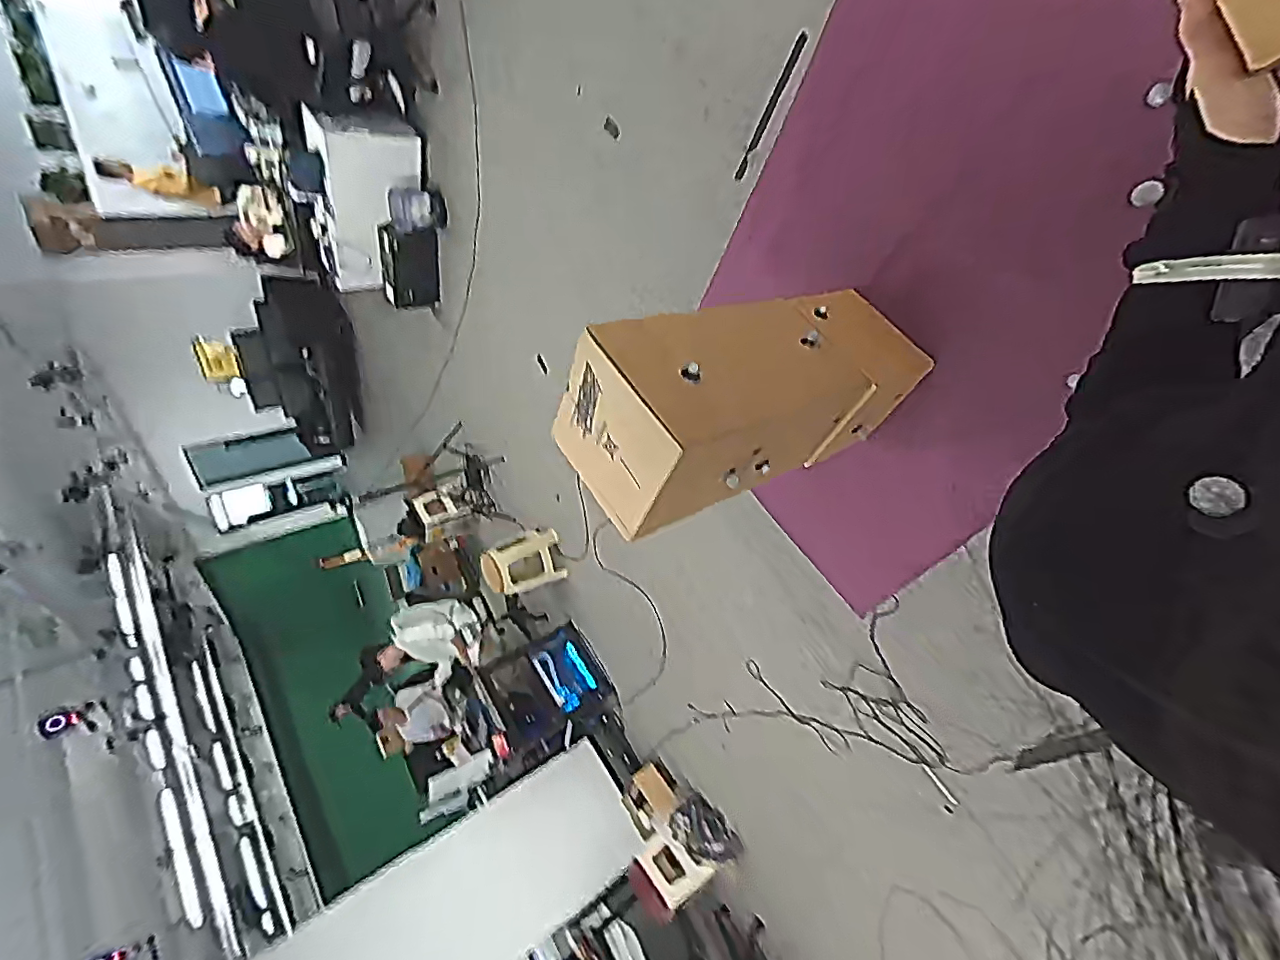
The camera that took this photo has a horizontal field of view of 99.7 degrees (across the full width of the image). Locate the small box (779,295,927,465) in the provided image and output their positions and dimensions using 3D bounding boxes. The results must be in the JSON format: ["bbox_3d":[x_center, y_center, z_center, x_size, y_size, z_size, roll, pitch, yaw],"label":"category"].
[{"bbox_3d":[0.279,-0.156,0.803,0.179,0.176,0.168,54,142,22],"label":"small box"}]

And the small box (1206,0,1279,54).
[{"bbox_3d":[0.355,-0.330,0.234,0.179,0.176,0.168,63,151,-2],"label":"small box"}]

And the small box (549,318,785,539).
[{"bbox_3d":[0.025,-0.067,0.615,0.179,0.176,0.168,53,142,22],"label":"small box"}]

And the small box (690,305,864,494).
[{"bbox_3d":[0.149,-0.113,0.713,0.179,0.176,0.168,54,143,23],"label":"small box"}]
